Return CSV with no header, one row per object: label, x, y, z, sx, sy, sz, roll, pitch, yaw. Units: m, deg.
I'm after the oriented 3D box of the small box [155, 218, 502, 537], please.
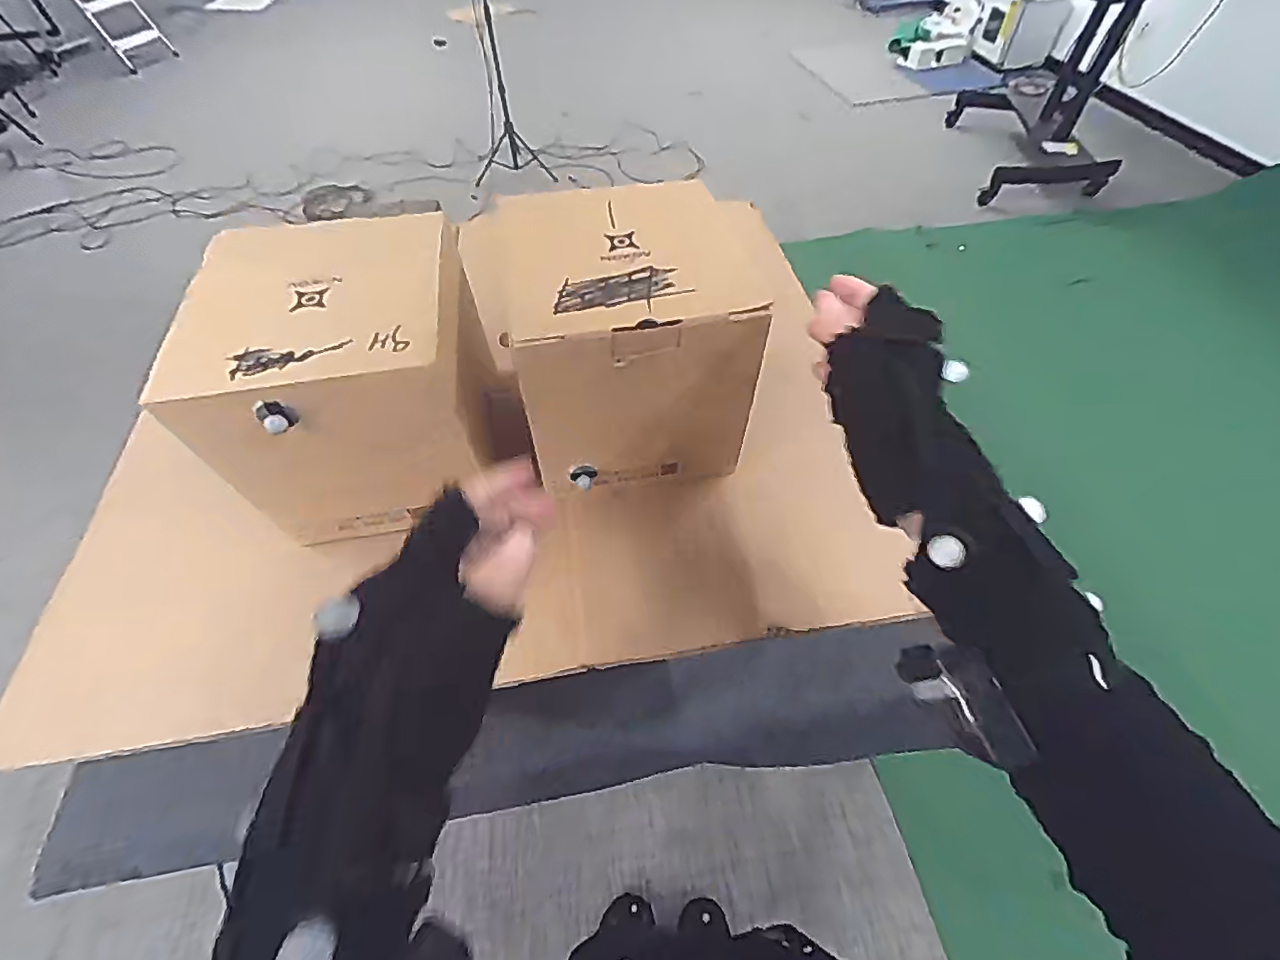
small box,-0.213,-0.079,0.433,0.168,0.176,0.179,-9,54,-4
